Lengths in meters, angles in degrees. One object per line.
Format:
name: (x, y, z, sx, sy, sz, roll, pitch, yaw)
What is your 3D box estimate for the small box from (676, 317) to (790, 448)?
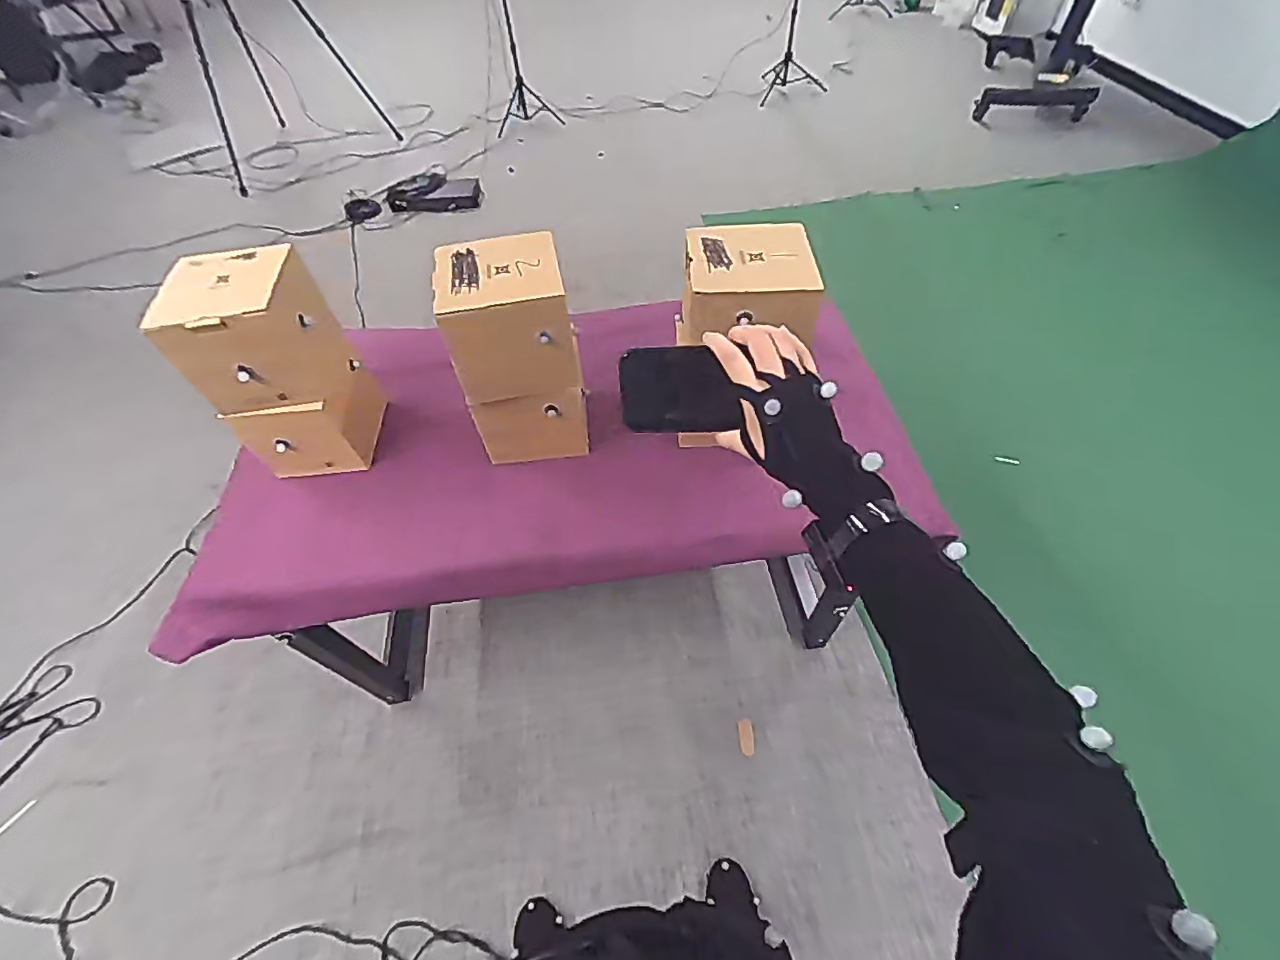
small box: (0.153, -0.171, 0.951, 0.179, 0.176, 0.168, -2, 53, 4)

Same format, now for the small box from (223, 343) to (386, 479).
small box: (-0.576, -0.114, 0.959, 0.168, 0.176, 0.179, -6, 53, -1)

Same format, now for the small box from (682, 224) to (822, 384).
small box: (0.154, -0.258, 0.811, 0.179, 0.176, 0.168, -2, 53, 2)

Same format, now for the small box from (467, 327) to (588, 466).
small box: (-0.186, -0.143, 0.952, 0.179, 0.176, 0.168, -7, 53, -1)

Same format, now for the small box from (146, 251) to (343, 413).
small box: (-0.587, -0.219, 0.833, 0.168, 0.176, 0.179, -10, 54, -4)
